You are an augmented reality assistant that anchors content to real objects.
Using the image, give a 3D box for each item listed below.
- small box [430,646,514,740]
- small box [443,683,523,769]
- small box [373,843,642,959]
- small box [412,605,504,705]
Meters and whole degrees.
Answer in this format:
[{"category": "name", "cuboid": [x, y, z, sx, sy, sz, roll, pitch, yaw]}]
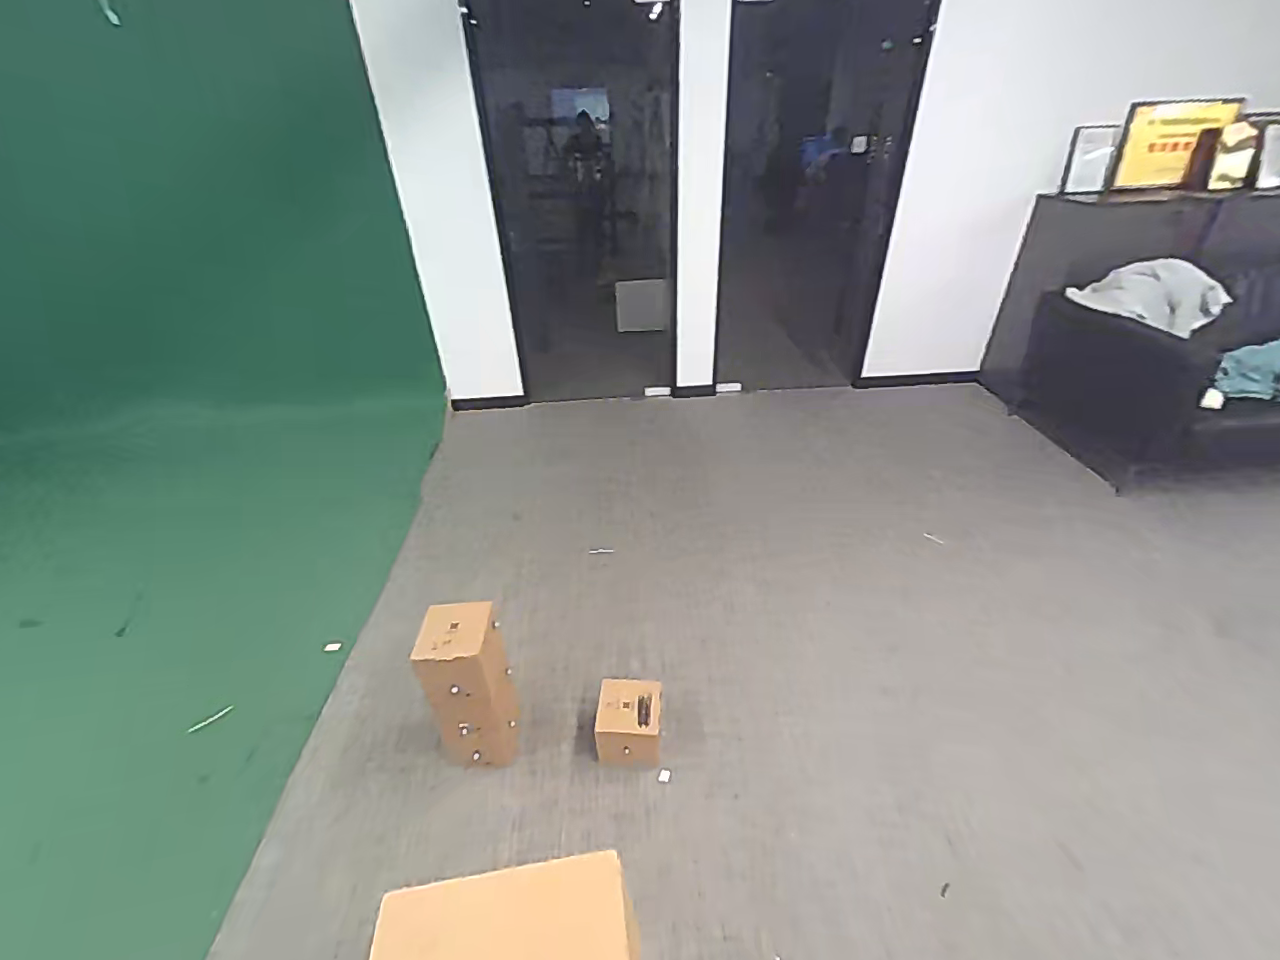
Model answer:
[{"category": "small box", "cuboid": [-0.446, 0.576, 1.466, 0.168, 0.176, 0.179, -4, 35, 0]}, {"category": "small box", "cuboid": [-0.444, 0.710, 1.558, 0.168, 0.176, 0.179, -1, 35, 2]}, {"category": "small box", "cuboid": [-0.077, 0.382, 0.355, 0.168, 0.176, 0.179, -8, 35, -4]}, {"category": "small box", "cuboid": [-0.450, 0.441, 1.372, 0.168, 0.176, 0.179, -4, 34, 0]}]
